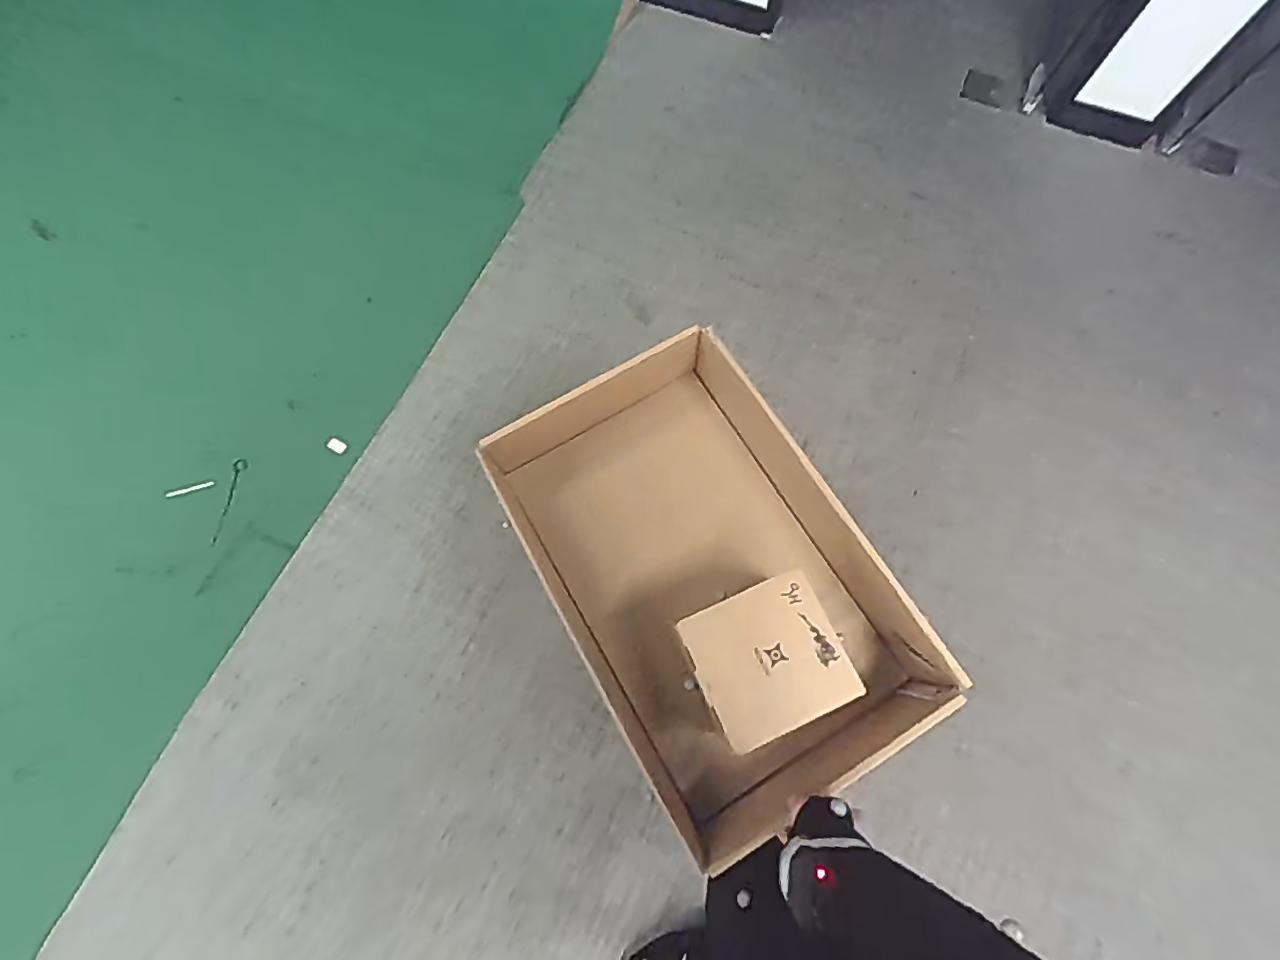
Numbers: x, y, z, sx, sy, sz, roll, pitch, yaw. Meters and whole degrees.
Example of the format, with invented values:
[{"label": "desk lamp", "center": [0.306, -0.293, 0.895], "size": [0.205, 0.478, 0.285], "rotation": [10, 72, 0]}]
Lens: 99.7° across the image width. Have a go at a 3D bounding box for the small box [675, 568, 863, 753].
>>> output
[{"label": "small box", "center": [0.157, 0.235, 0.724], "size": [0.179, 0.176, 0.168], "rotation": [-23, 75, -5]}]
